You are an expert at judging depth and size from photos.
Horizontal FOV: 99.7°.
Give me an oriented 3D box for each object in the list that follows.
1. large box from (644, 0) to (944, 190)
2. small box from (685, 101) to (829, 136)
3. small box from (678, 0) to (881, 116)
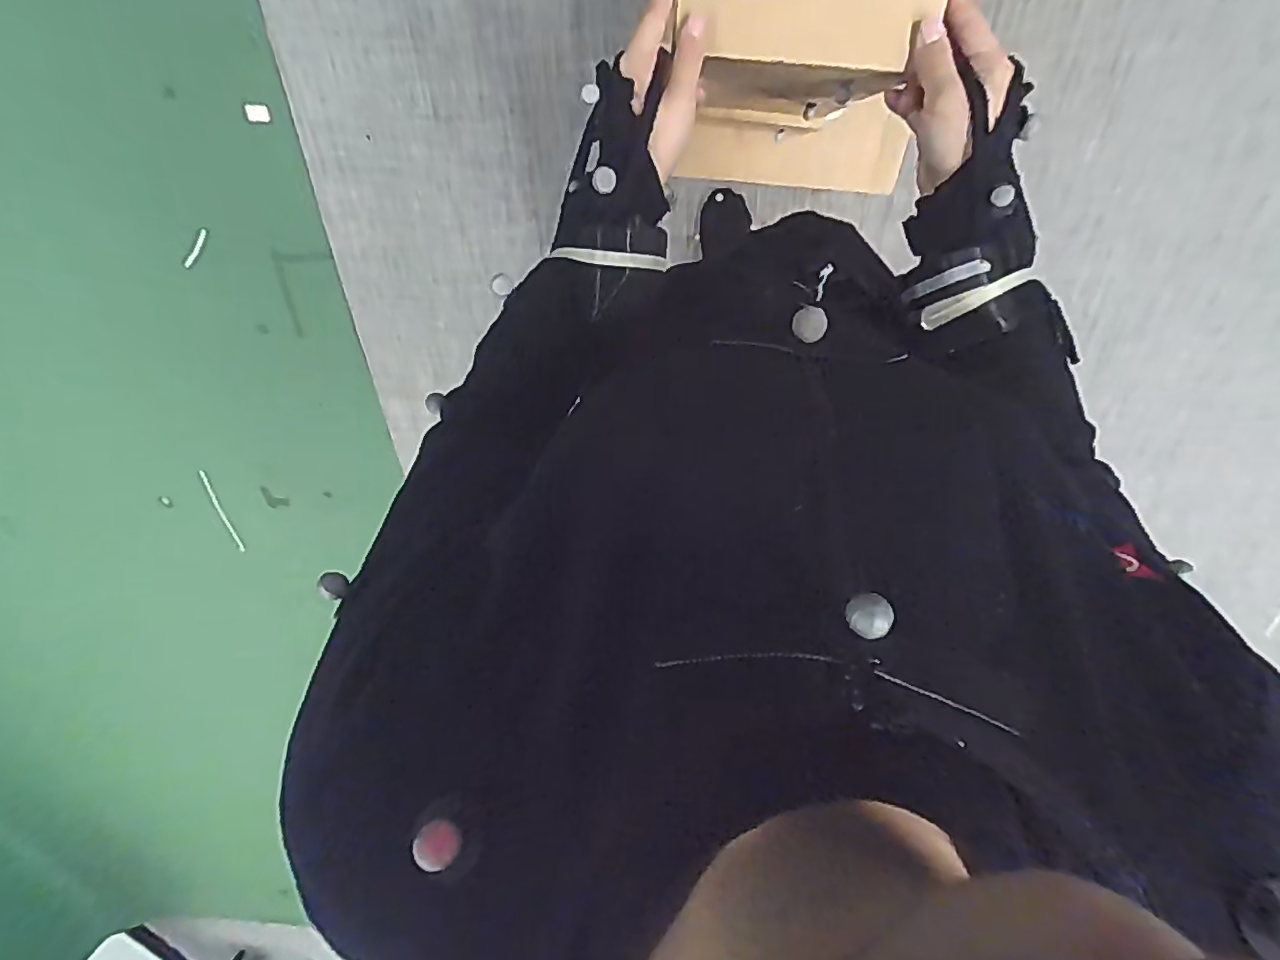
[{"bbox_3d":[0.217,-0.675,0.899,0.408,0.320,0.320,5,122,1],"label":"large box"},{"bbox_3d":[0.155,-0.550,0.697,0.179,0.176,0.168,7,120,3],"label":"small box"},{"bbox_3d":[0.136,-0.480,0.551,0.179,0.176,0.168,6,120,2],"label":"small box"}]
